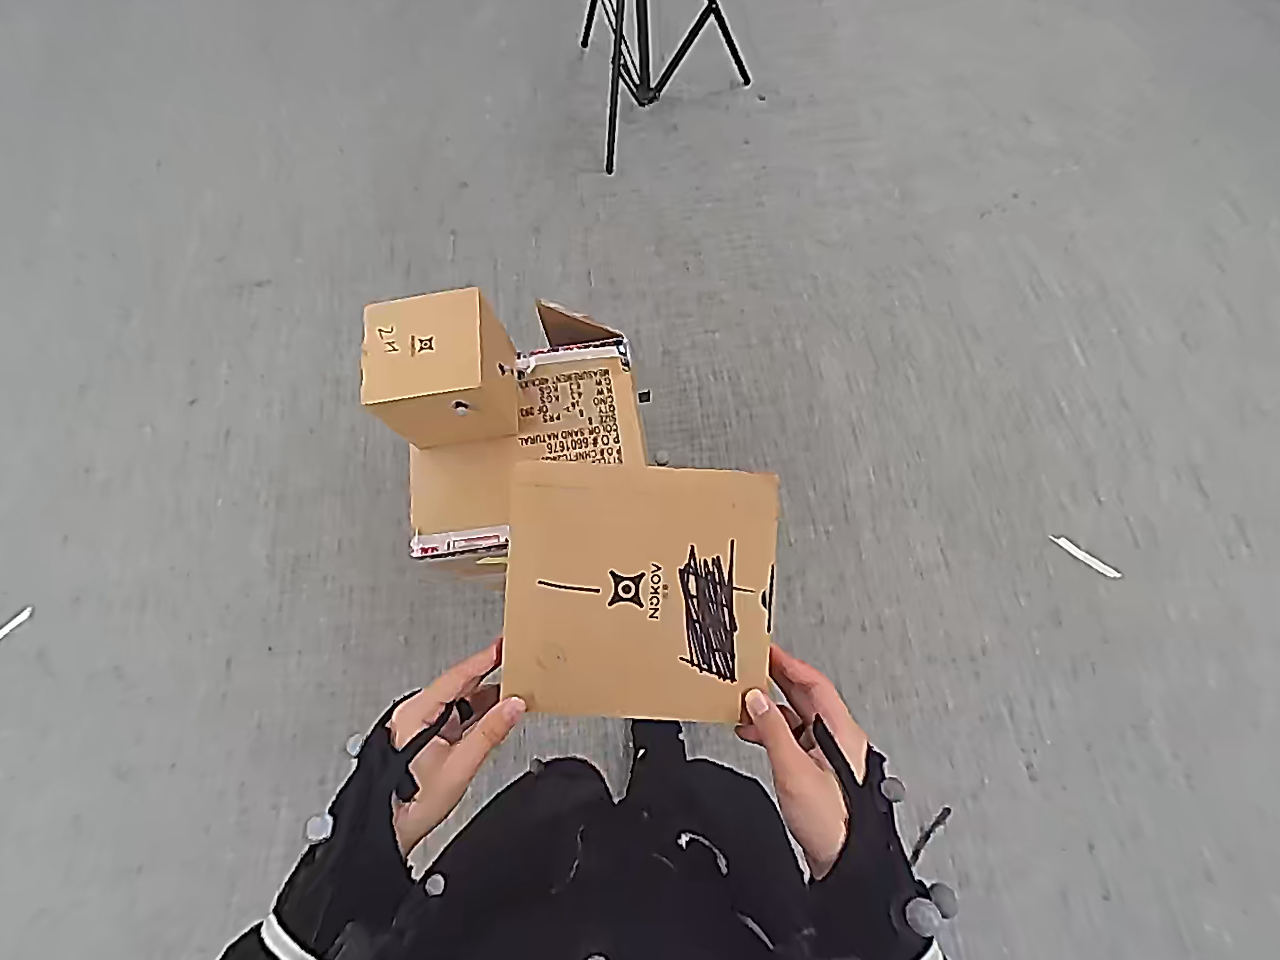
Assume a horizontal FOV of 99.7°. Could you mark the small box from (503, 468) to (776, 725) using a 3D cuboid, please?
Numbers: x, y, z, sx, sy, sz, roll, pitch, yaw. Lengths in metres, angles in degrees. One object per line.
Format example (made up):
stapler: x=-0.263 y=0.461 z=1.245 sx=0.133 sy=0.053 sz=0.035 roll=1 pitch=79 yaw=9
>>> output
small box: x=-0.001 y=0.078 z=0.438 sx=0.179 sy=0.176 sz=0.168 roll=3 pitch=89 yaw=0

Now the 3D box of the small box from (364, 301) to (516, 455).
small box: x=-0.300 y=-0.151 z=0.847 sx=0.179 sy=0.176 sz=0.168 roll=-8 pitch=71 yaw=4
